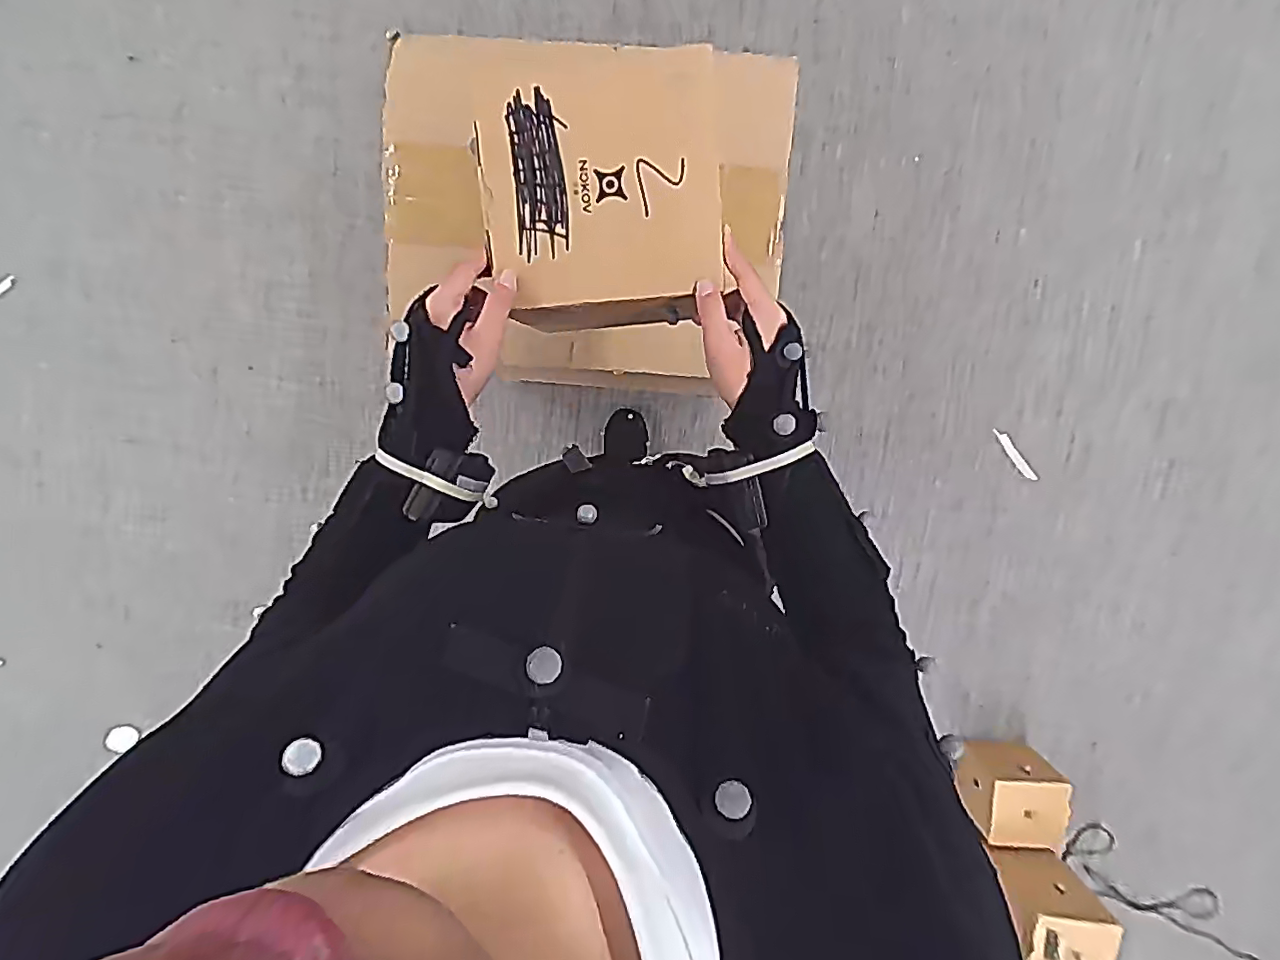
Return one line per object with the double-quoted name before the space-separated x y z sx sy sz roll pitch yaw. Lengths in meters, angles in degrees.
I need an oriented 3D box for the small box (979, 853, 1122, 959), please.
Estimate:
"small box" 0.892 0.967 1.194 0.179 0.176 0.168 7 98 1
